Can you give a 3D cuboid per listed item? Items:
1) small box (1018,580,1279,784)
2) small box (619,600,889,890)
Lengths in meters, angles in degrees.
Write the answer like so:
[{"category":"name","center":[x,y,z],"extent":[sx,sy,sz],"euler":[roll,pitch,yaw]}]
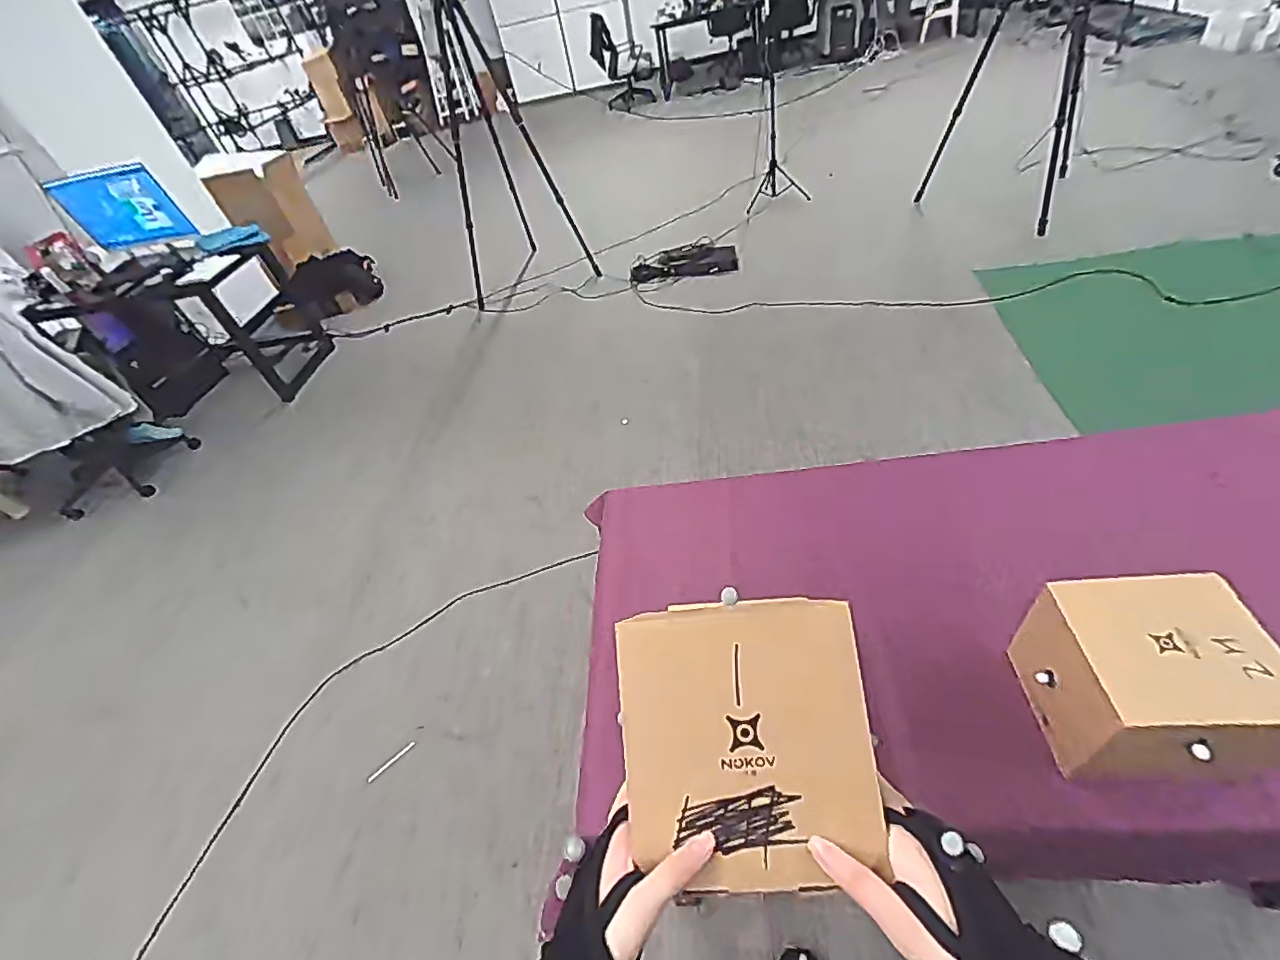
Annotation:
[{"category":"small box","center":[0.566,0.232,0.615],"extent":[0.179,0.176,0.168],"euler":[-5,45,10]},{"category":"small box","center":[0.081,0.194,0.443],"extent":[0.168,0.176,0.179],"euler":[-6,77,6]}]
